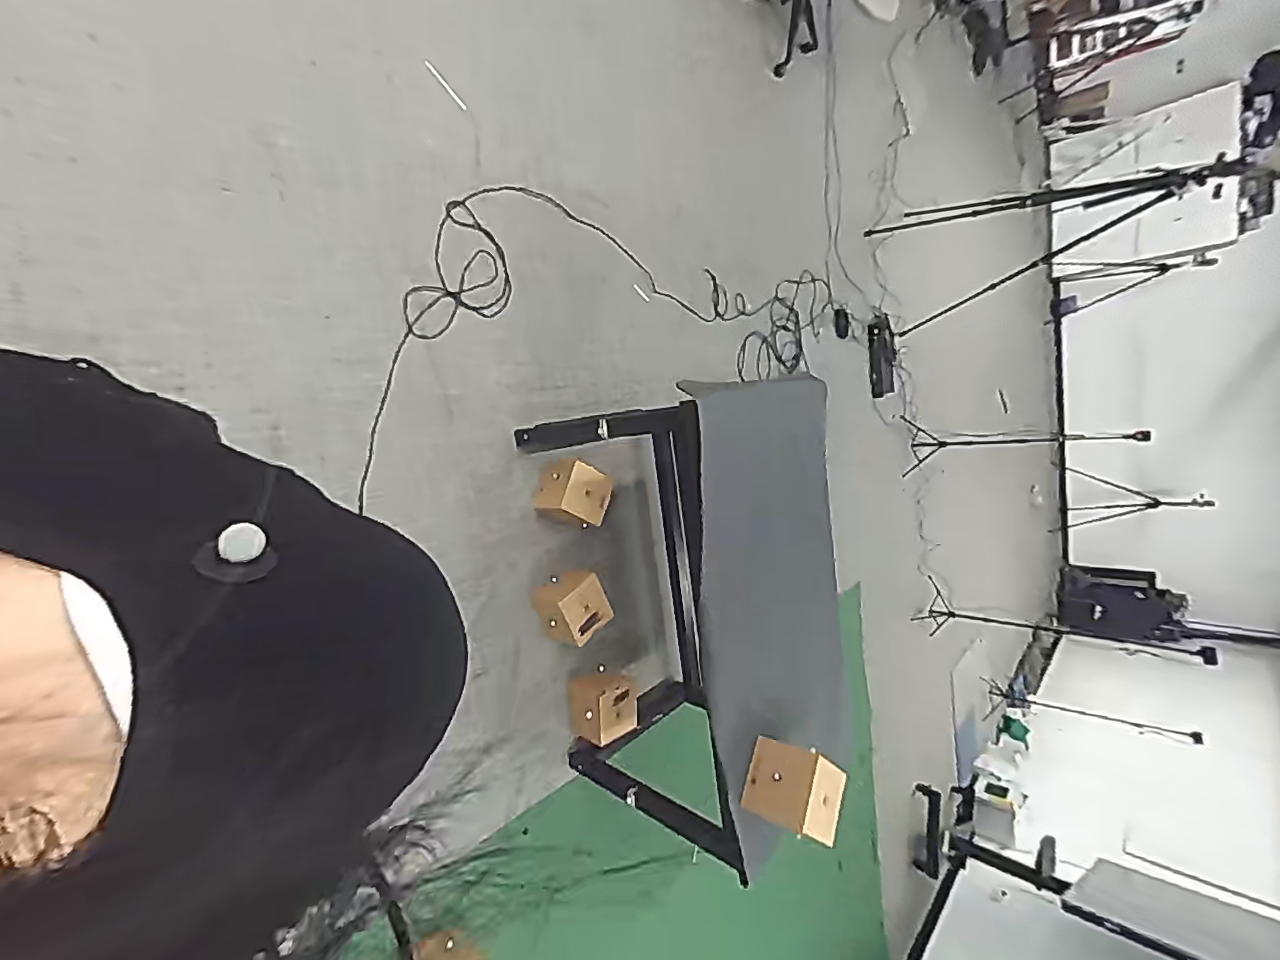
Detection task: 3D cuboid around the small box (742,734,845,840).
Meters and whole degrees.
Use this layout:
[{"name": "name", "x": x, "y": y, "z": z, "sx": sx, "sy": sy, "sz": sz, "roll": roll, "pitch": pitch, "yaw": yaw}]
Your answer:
[{"name": "small box", "x": 0.376, "y": 0.747, "z": 1.331, "sx": 0.179, "sy": 0.176, "sz": 0.168, "roll": 45, "pitch": 58, "yaw": -35}]

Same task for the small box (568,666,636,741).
[{"name": "small box", "x": -0.133, "y": 0.756, "z": 1.858, "sx": 0.168, "sy": 0.176, "sz": 0.179, "roll": -7, "pitch": 96, "yaw": -44}]

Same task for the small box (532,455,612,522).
[{"name": "small box", "x": -0.226, "y": 0.031, "z": 1.769, "sx": 0.179, "sy": 0.176, "sz": 0.168, "roll": 30, "pitch": 70, "yaw": -41}]

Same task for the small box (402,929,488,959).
[{"name": "small box", "x": -0.546, "y": 1.353, "z": 1.457, "sx": 0.168, "sy": 0.176, "sz": 0.179, "roll": 32, "pitch": 68, "yaw": -40}]
